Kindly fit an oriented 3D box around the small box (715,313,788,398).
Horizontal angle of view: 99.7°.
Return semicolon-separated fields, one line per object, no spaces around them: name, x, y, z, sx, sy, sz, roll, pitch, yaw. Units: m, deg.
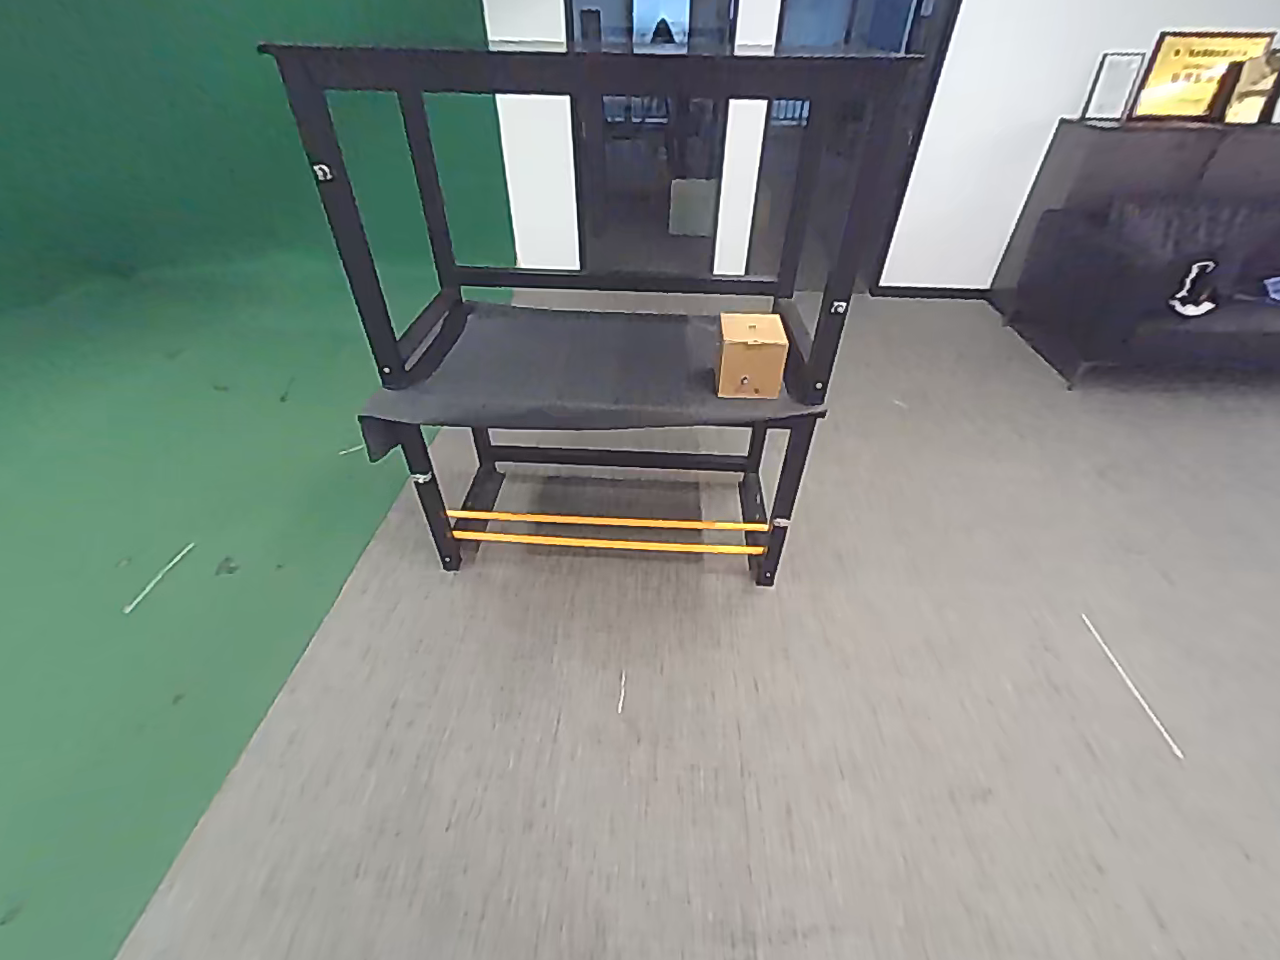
small box;0.296;-0.342;1.479;0.168;0.176;0.179;2;40;2
